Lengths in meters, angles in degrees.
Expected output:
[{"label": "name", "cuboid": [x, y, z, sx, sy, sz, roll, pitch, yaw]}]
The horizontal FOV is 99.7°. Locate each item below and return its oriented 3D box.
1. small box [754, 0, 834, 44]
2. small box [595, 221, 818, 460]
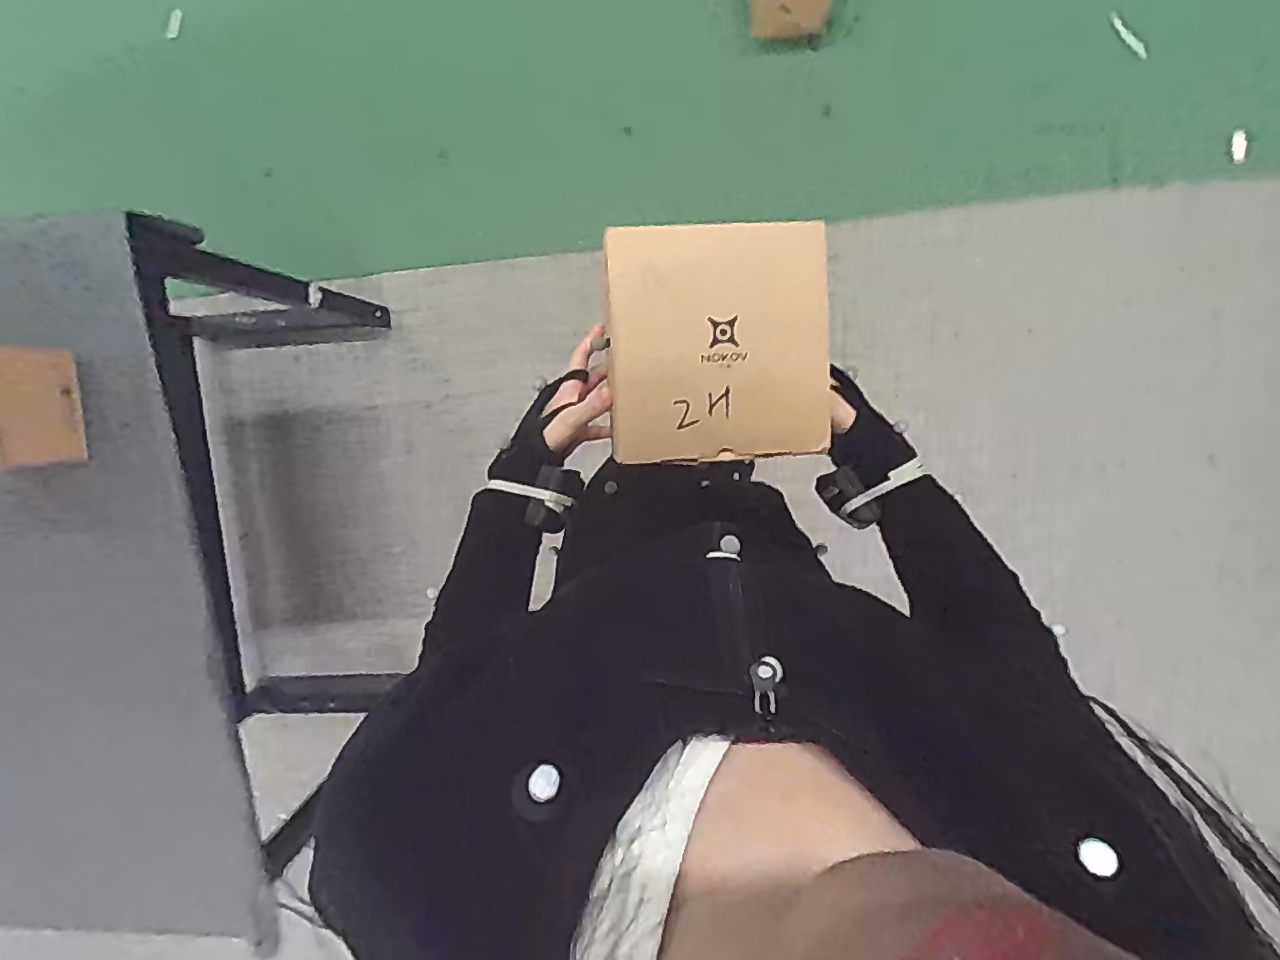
[{"label": "small box", "cuboid": [0.356, -1.150, 1.247, 0.168, 0.176, 0.179, -3, 96, 5]}, {"label": "small box", "cuboid": [0.047, -0.111, 0.488, 0.168, 0.176, 0.179, -4, 96, -4]}]
